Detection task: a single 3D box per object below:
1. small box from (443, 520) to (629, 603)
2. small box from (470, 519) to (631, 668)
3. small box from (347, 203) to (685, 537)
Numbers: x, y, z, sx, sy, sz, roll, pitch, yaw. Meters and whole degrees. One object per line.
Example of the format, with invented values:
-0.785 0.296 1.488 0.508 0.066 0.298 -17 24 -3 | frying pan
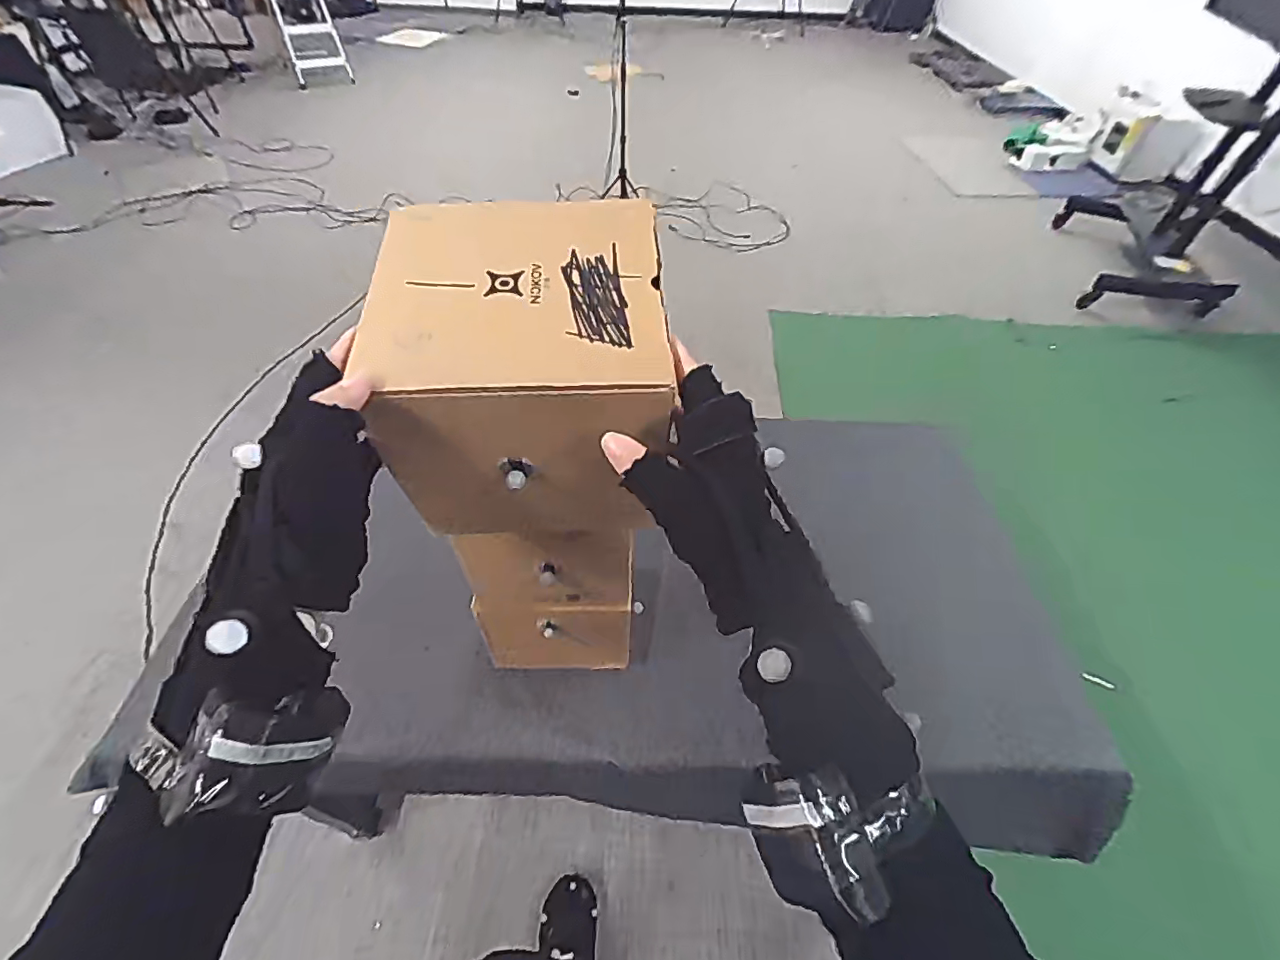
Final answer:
-0.095 0.021 0.577 0.168 0.176 0.179 -1 50 -3 | small box
-0.101 0.132 0.697 0.179 0.176 0.168 1 50 -3 | small box
-0.075 -0.070 0.388 0.179 0.176 0.168 -4 59 -6 | small box
